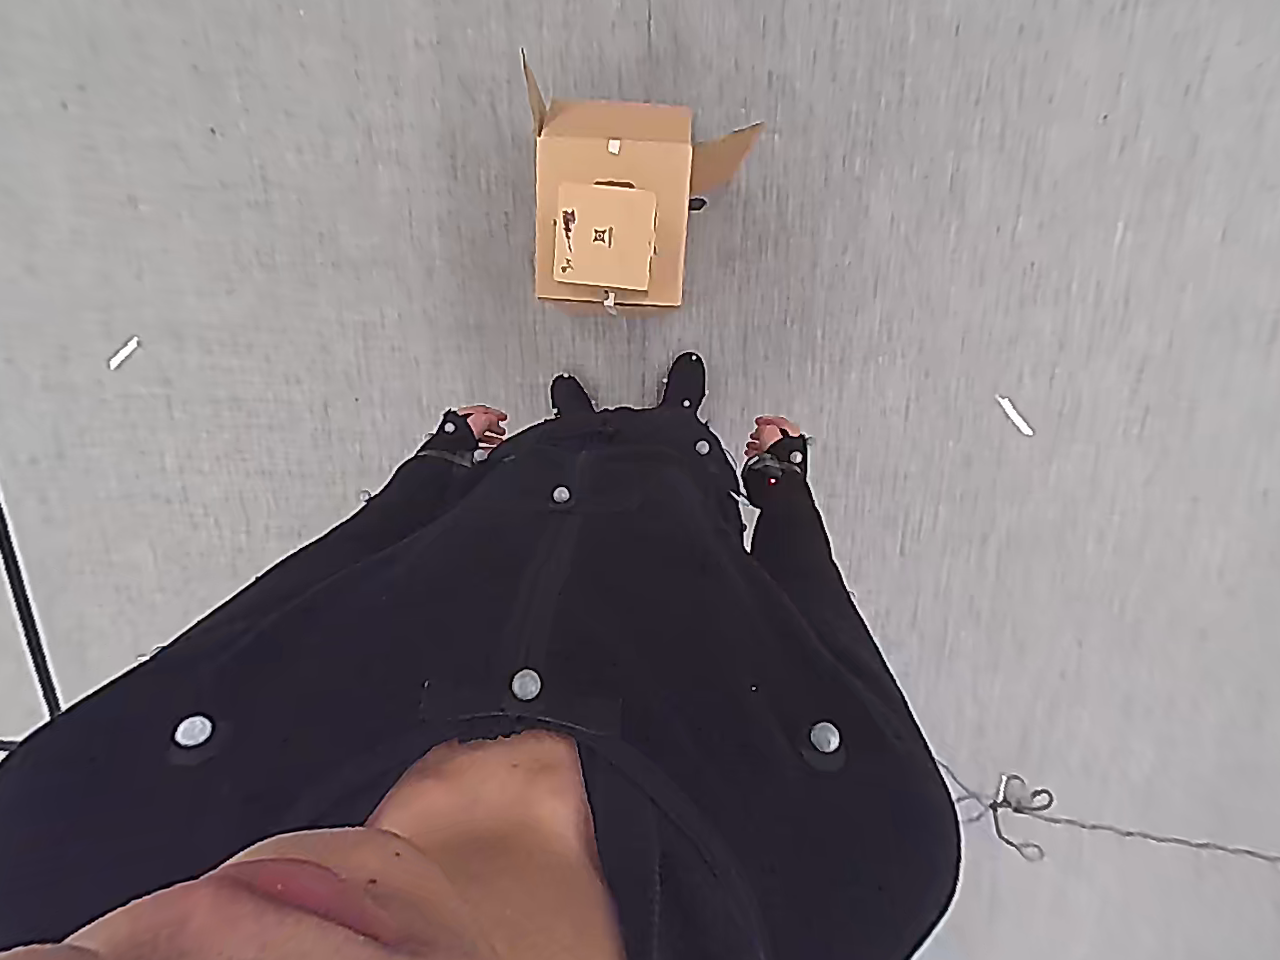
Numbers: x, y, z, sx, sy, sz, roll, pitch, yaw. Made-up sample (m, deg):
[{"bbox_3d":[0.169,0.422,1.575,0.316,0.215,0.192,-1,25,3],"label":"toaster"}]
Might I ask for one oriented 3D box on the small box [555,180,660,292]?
[{"bbox_3d":[-0.059,-0.458,1.041,0.179,0.176,0.168,7,106,-1],"label":"small box"}]
